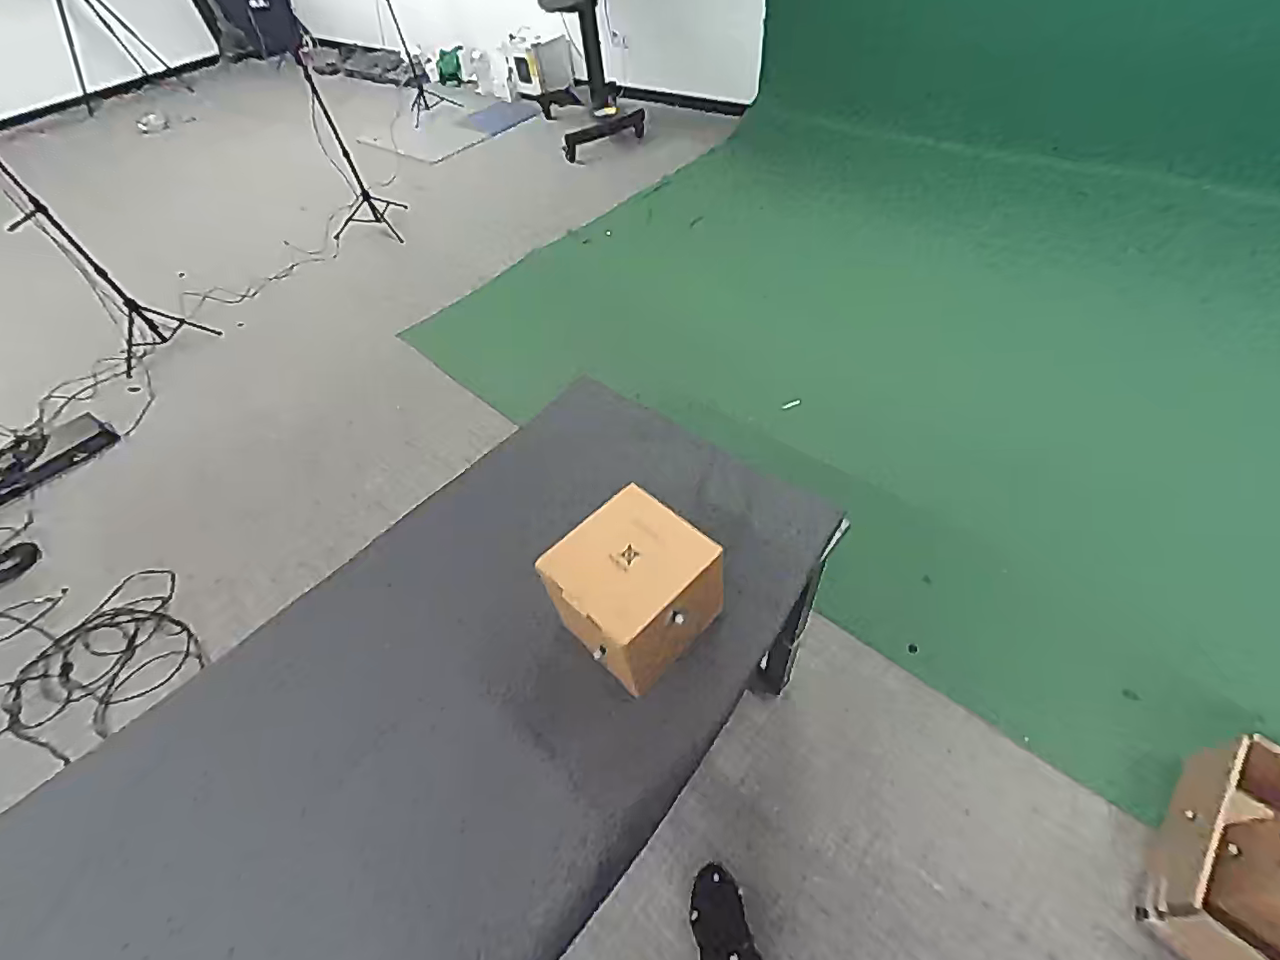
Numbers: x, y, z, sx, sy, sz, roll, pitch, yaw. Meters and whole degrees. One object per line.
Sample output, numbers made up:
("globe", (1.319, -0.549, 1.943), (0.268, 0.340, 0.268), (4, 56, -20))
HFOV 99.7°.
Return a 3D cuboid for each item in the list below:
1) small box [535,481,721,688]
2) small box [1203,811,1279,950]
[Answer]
("small box", (-0.007, 0.141, 0.719), (0.179, 0.176, 0.168), (-39, 57, -23))
("small box", (1.177, 0.734, 0.962), (0.179, 0.176, 0.168), (34, 64, 28))
